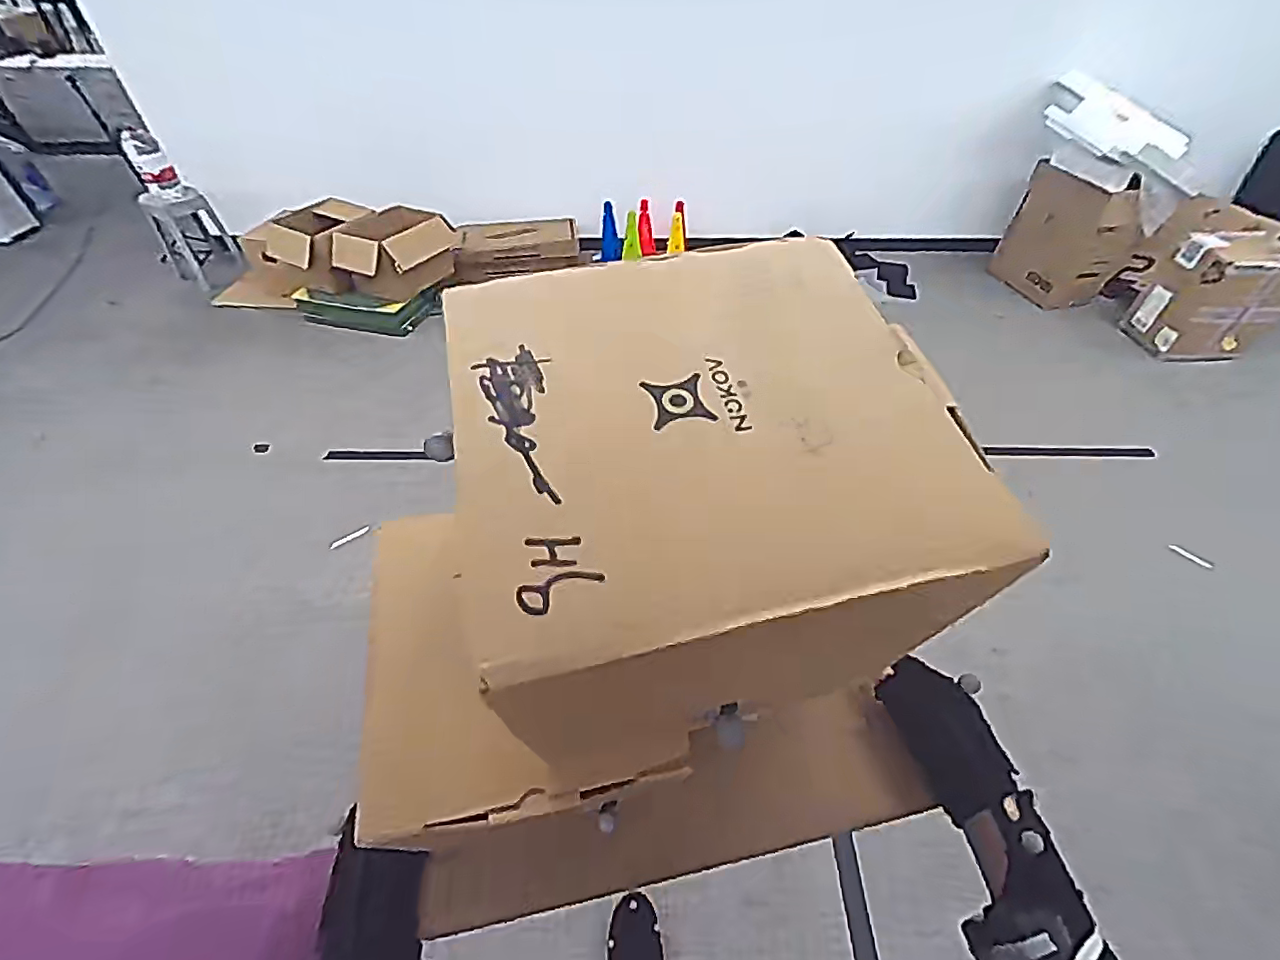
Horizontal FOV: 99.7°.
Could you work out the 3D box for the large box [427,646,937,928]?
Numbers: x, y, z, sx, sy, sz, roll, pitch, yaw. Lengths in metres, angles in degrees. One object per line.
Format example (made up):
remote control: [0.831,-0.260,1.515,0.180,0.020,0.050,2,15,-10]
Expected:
large box: [0.005,0.233,0.600,0.408,0.320,0.320,-8,57,-10]

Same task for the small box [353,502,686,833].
small box: [-0.076,0.126,0.373,0.168,0.176,0.179,-8,55,-11]

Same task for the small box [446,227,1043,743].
small box: [0.019,0.010,0.258,0.179,0.176,0.168,-10,57,-9]
